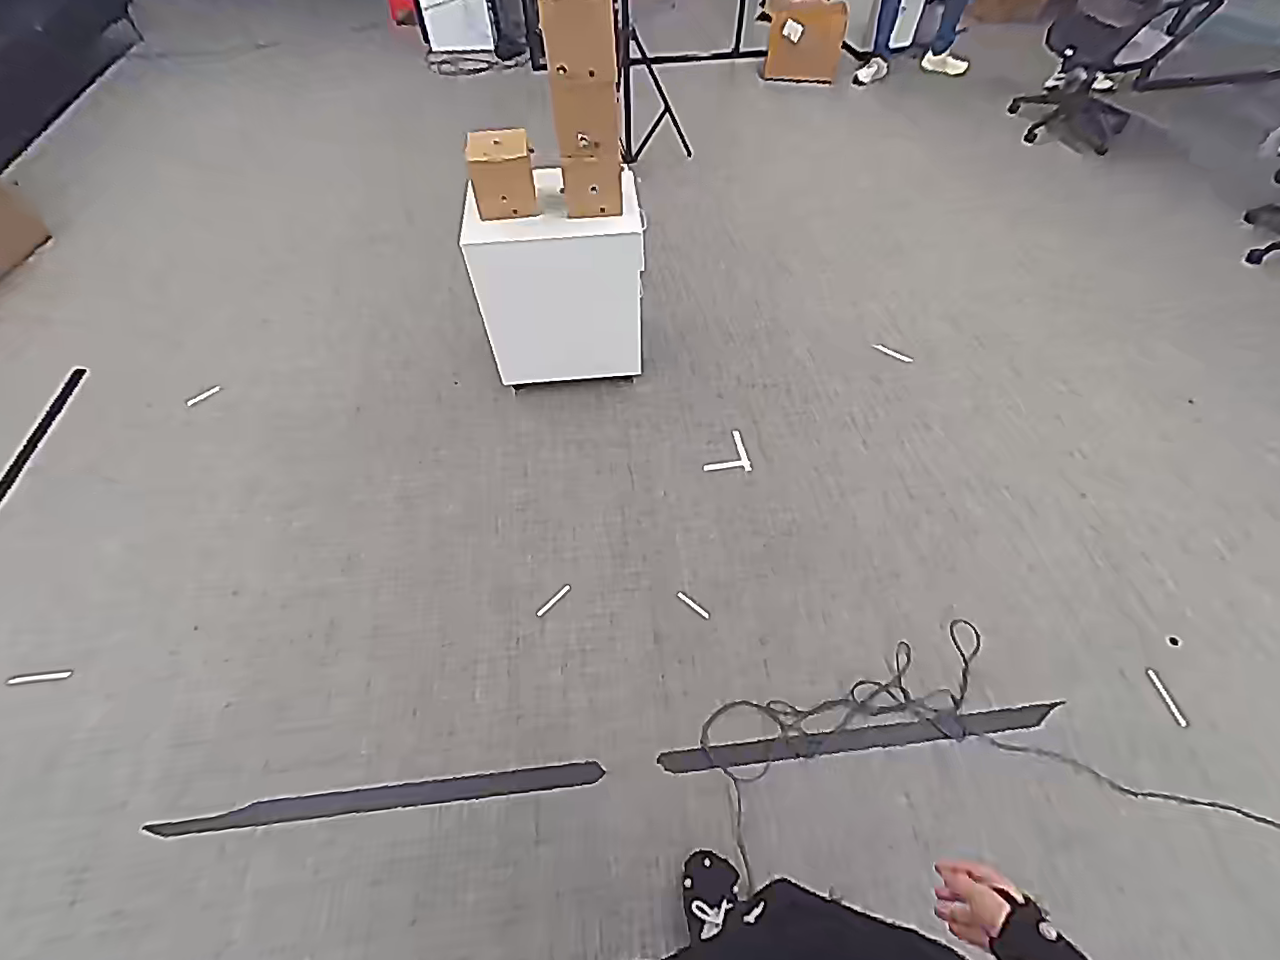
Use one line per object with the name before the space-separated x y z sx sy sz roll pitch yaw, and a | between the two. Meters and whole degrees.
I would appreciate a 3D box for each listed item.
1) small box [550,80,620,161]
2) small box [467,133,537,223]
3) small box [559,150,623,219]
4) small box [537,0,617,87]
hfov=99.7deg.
small box | -0.143 -0.977 1.435 0.168 0.176 0.179 -5 55 -1
small box | -0.394 -0.871 1.563 0.168 0.176 0.179 -7 56 -4
small box | -0.139 -0.876 1.563 0.168 0.176 0.179 -5 56 -1
small box | -0.145 -1.070 1.299 0.168 0.176 0.179 -4 53 0
